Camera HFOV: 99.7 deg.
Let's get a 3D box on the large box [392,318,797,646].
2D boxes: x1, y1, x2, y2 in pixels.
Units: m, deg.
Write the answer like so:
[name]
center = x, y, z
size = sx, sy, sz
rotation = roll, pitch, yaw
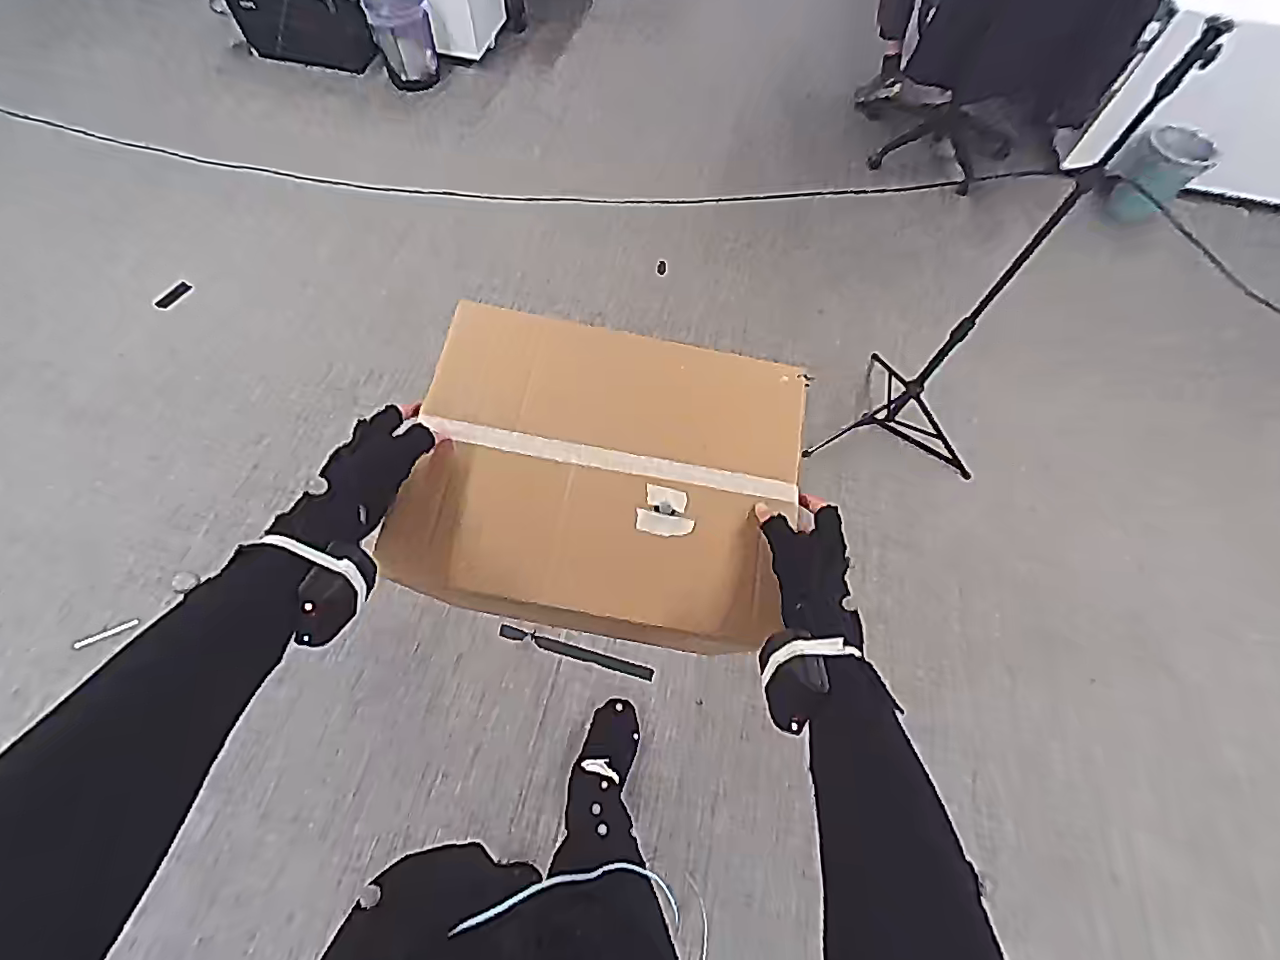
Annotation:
[large box]
center = -0.045, 0.032, 0.727
size = 0.408, 0.320, 0.320
rotation = 11, 71, -2
